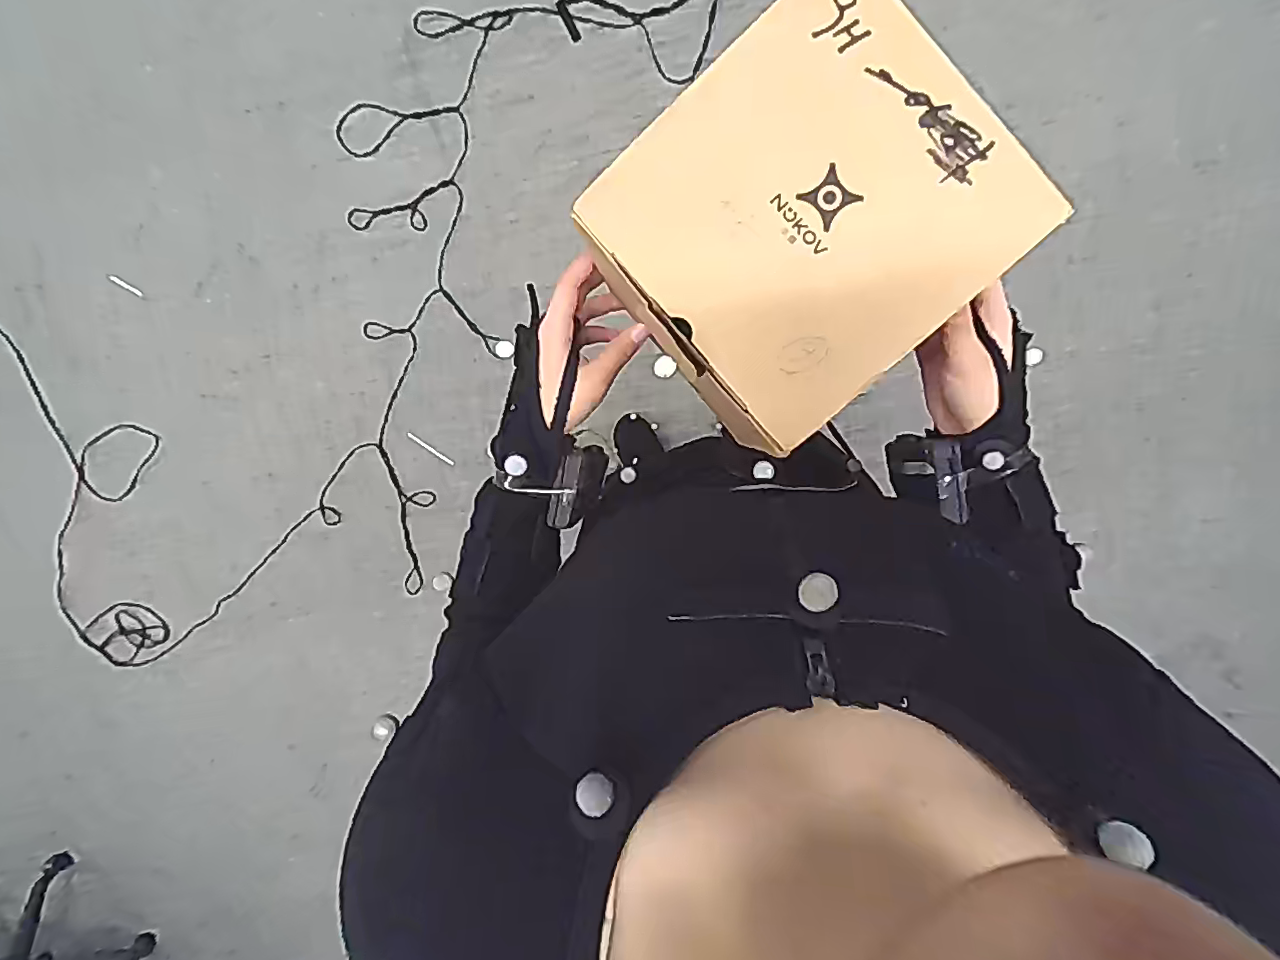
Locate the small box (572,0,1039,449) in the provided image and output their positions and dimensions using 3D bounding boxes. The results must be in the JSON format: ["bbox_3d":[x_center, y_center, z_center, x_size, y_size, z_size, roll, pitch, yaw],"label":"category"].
[{"bbox_3d":[0.086,-0.139,0.351,0.179,0.176,0.168,-42,92,8],"label":"small box"}]
